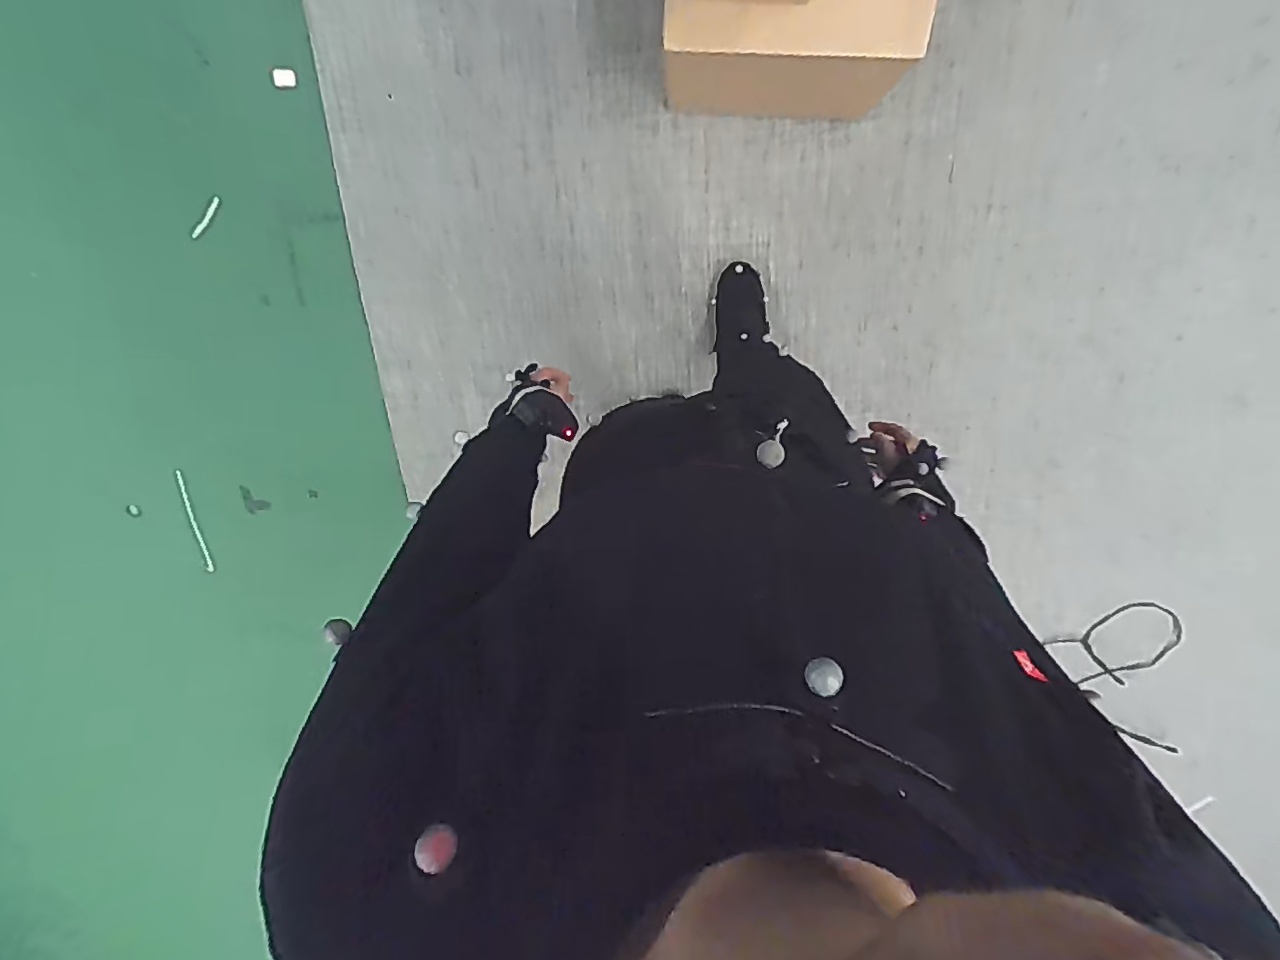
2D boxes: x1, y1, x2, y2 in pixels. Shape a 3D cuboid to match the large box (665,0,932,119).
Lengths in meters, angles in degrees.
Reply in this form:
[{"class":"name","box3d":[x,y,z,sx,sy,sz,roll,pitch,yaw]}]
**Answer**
[{"class":"large box","box3d":[0.247,-0.844,0.928,0.408,0.320,0.320,3,110,2]}]
